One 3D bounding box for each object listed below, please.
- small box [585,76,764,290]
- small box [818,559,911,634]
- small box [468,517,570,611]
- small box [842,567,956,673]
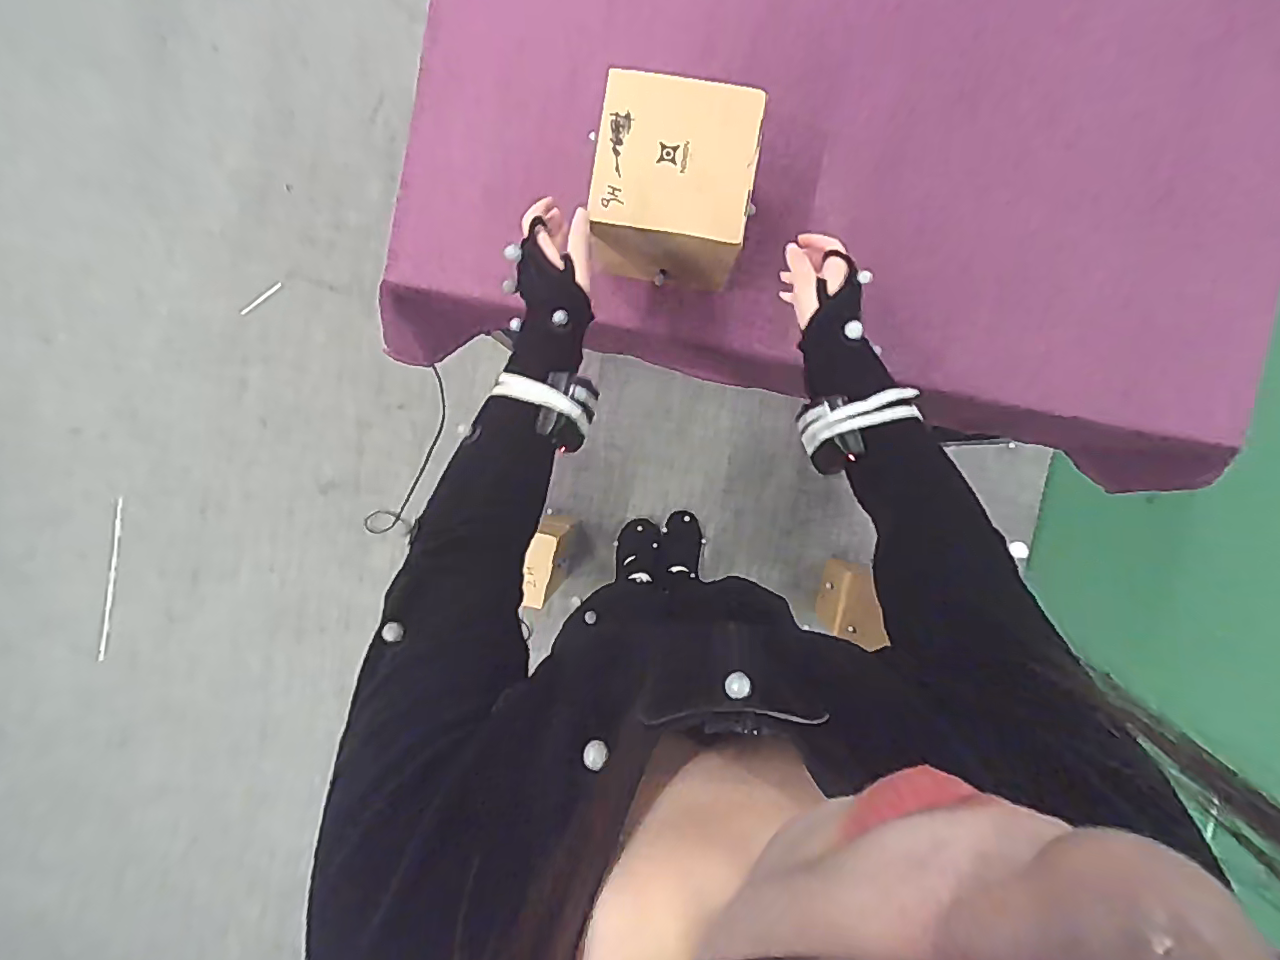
[{"bbox_3d":[0.038,-0.349,0.670,0.179,0.176,0.168,9,92,0],"label":"small box"},{"bbox_3d":[0.582,0.309,1.414,0.179,0.176,0.168,9,93,0],"label":"small box"},{"bbox_3d":[-0.275,0.187,1.264,0.179,0.176,0.168,13,93,0],"label":"small box"},{"bbox_3d":[0.587,0.316,1.251,0.168,0.176,0.179,11,92,-1],"label":"small box"}]
